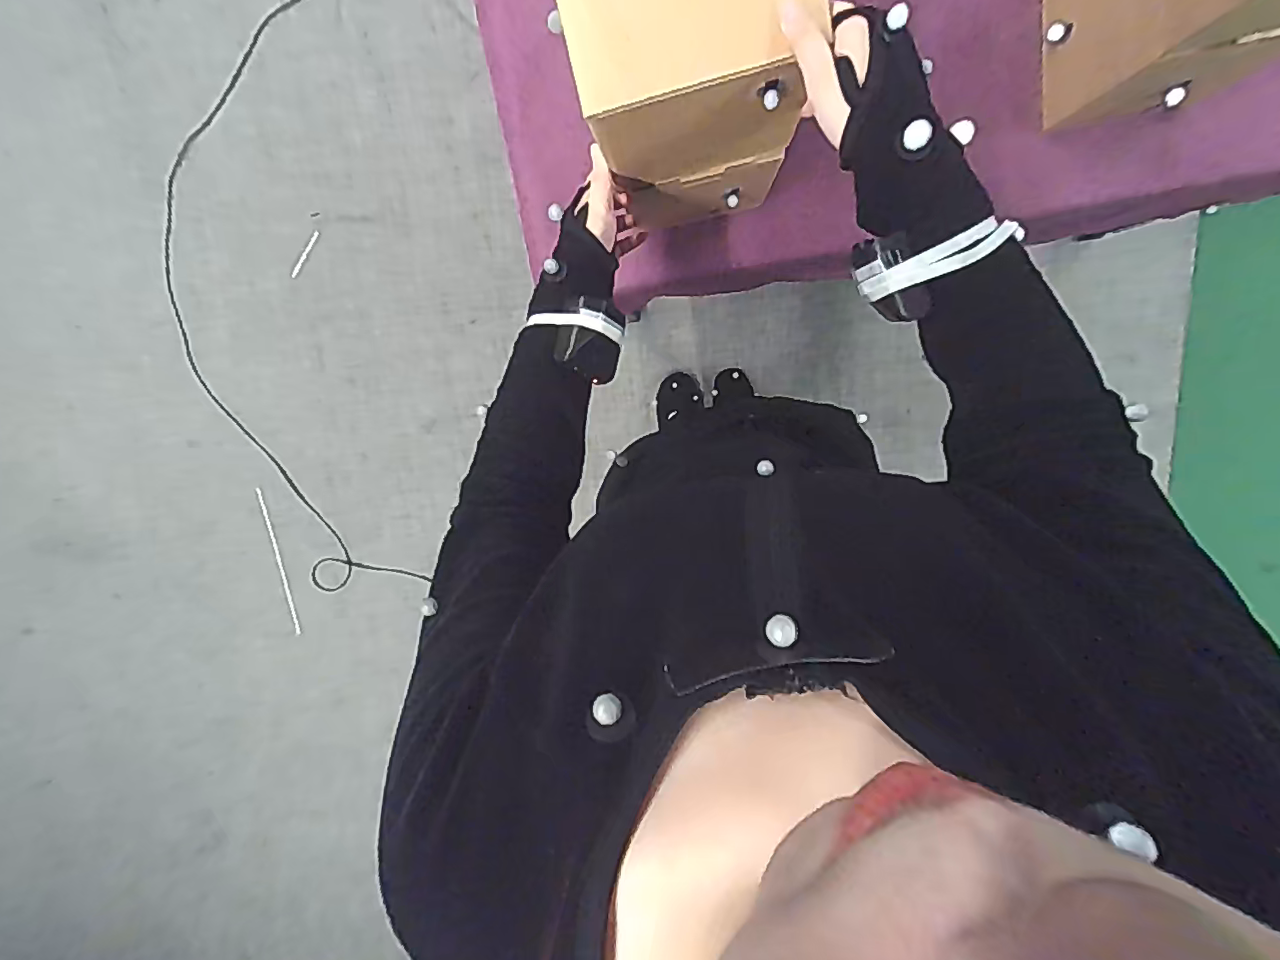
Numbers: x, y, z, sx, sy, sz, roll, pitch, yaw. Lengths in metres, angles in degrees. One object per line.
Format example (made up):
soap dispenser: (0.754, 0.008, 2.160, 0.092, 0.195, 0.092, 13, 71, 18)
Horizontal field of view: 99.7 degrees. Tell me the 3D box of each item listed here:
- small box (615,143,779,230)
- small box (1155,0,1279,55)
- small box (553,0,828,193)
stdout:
small box: (0.048, -0.391, 0.595, 0.168, 0.176, 0.179, -10, 101, 5)
small box: (0.517, -0.443, 0.377, 0.179, 0.176, 0.168, -9, 101, 6)
small box: (0.031, -0.359, 0.436, 0.179, 0.176, 0.168, -12, 100, 6)
